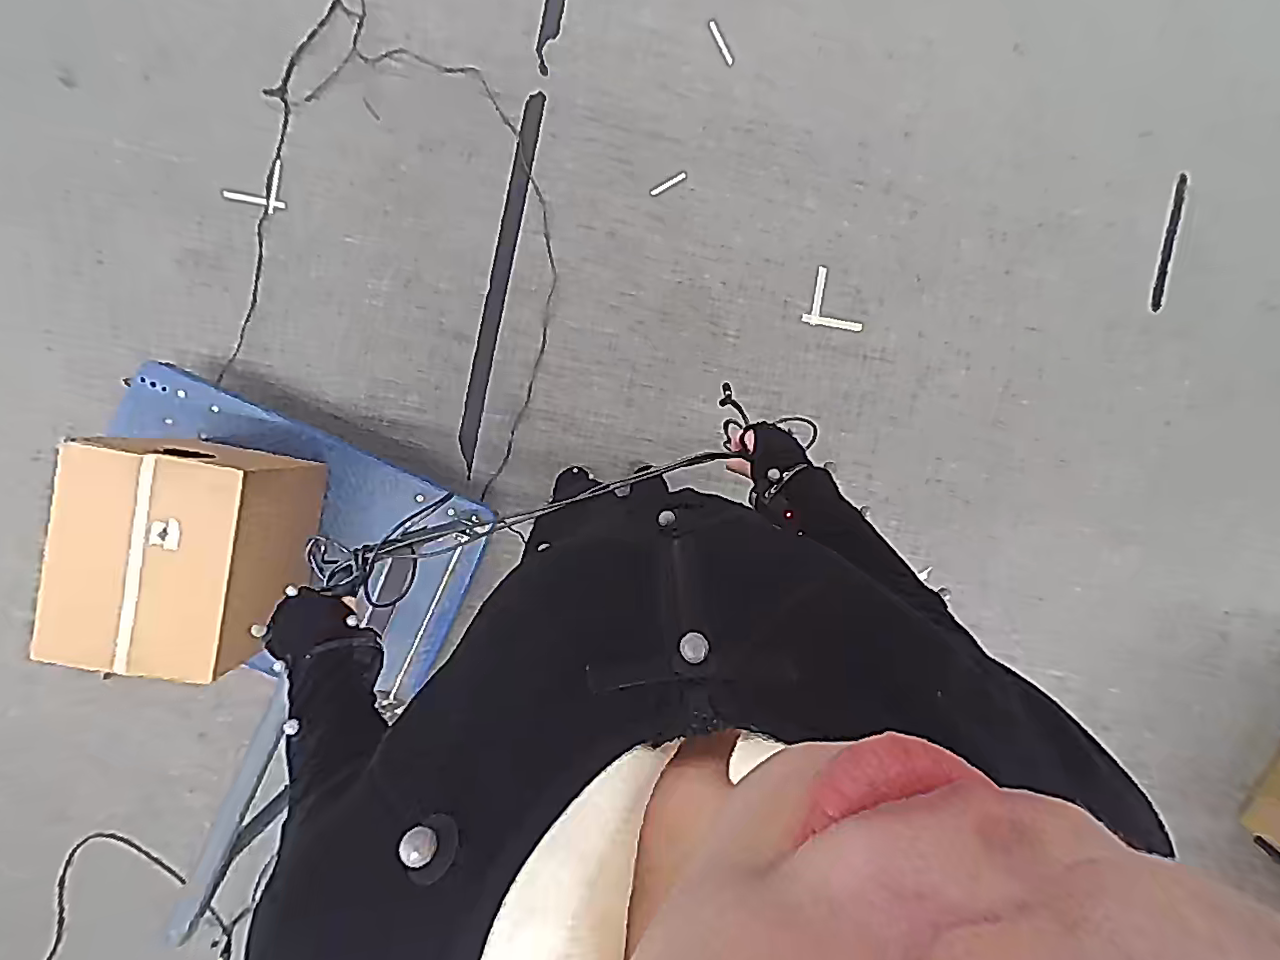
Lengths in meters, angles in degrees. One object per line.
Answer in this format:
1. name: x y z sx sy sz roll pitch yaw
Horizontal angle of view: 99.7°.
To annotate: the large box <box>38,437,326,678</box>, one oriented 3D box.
1. large box: -0.904 0.139 1.116 0.320 0.320 0.408 10 92 -5
